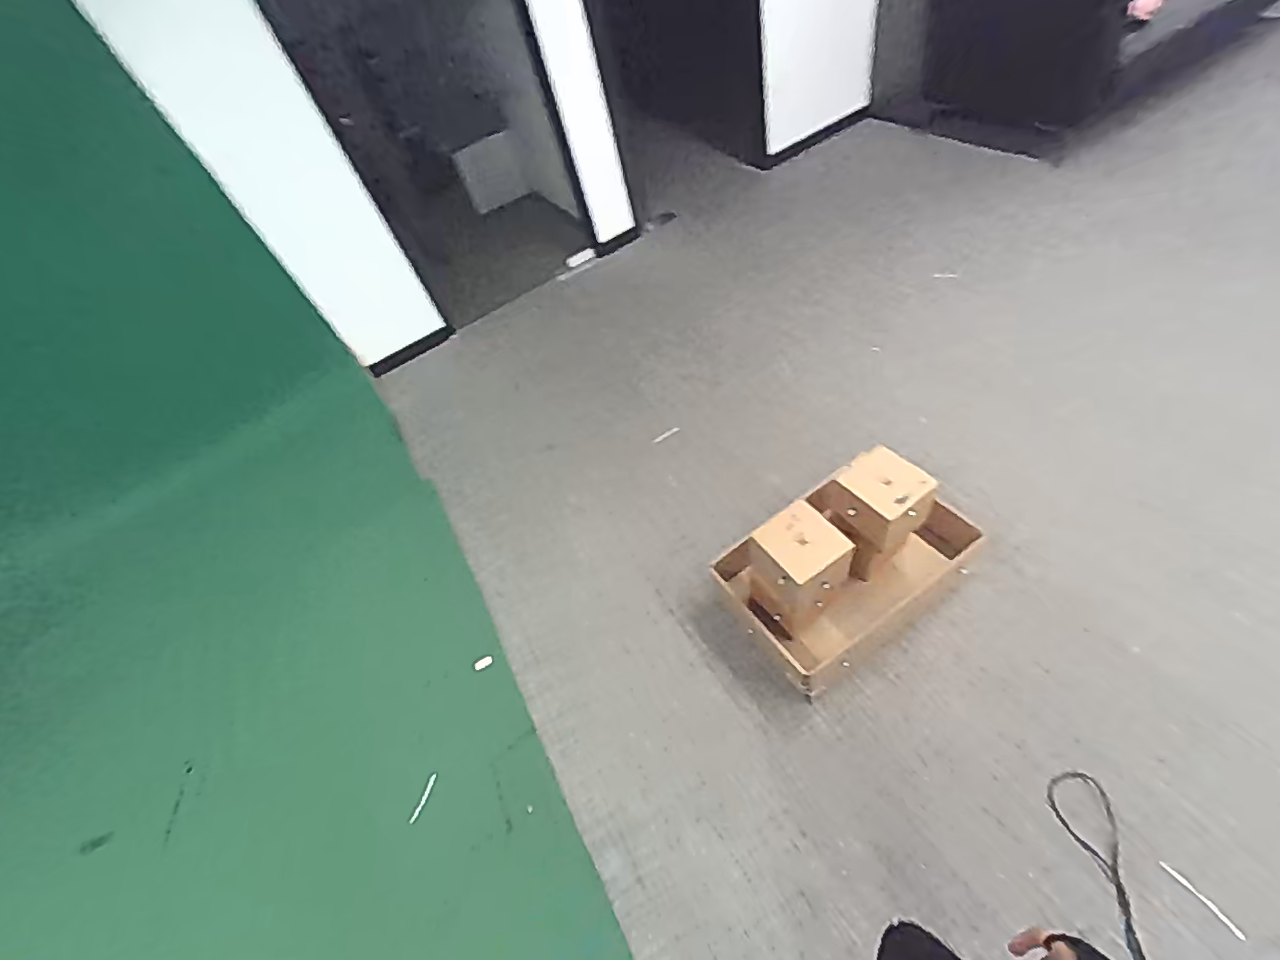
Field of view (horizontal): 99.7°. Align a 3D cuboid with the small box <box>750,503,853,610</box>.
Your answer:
[{"bbox_3d":[0.393,0.197,1.332,0.168,0.176,0.179,-32,51,-12],"label":"small box"}]

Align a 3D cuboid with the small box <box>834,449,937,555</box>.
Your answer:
[{"bbox_3d":[0.615,0.059,1.381,0.168,0.176,0.179,-34,50,-11],"label":"small box"}]

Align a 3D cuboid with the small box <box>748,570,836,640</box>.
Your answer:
[{"bbox_3d":[0.415,0.298,1.460,0.179,0.176,0.168,-35,52,-15],"label":"small box"}]

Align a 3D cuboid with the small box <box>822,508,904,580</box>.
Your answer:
[{"bbox_3d":[0.633,0.149,1.519,0.179,0.176,0.168,-37,52,-15],"label":"small box"}]
